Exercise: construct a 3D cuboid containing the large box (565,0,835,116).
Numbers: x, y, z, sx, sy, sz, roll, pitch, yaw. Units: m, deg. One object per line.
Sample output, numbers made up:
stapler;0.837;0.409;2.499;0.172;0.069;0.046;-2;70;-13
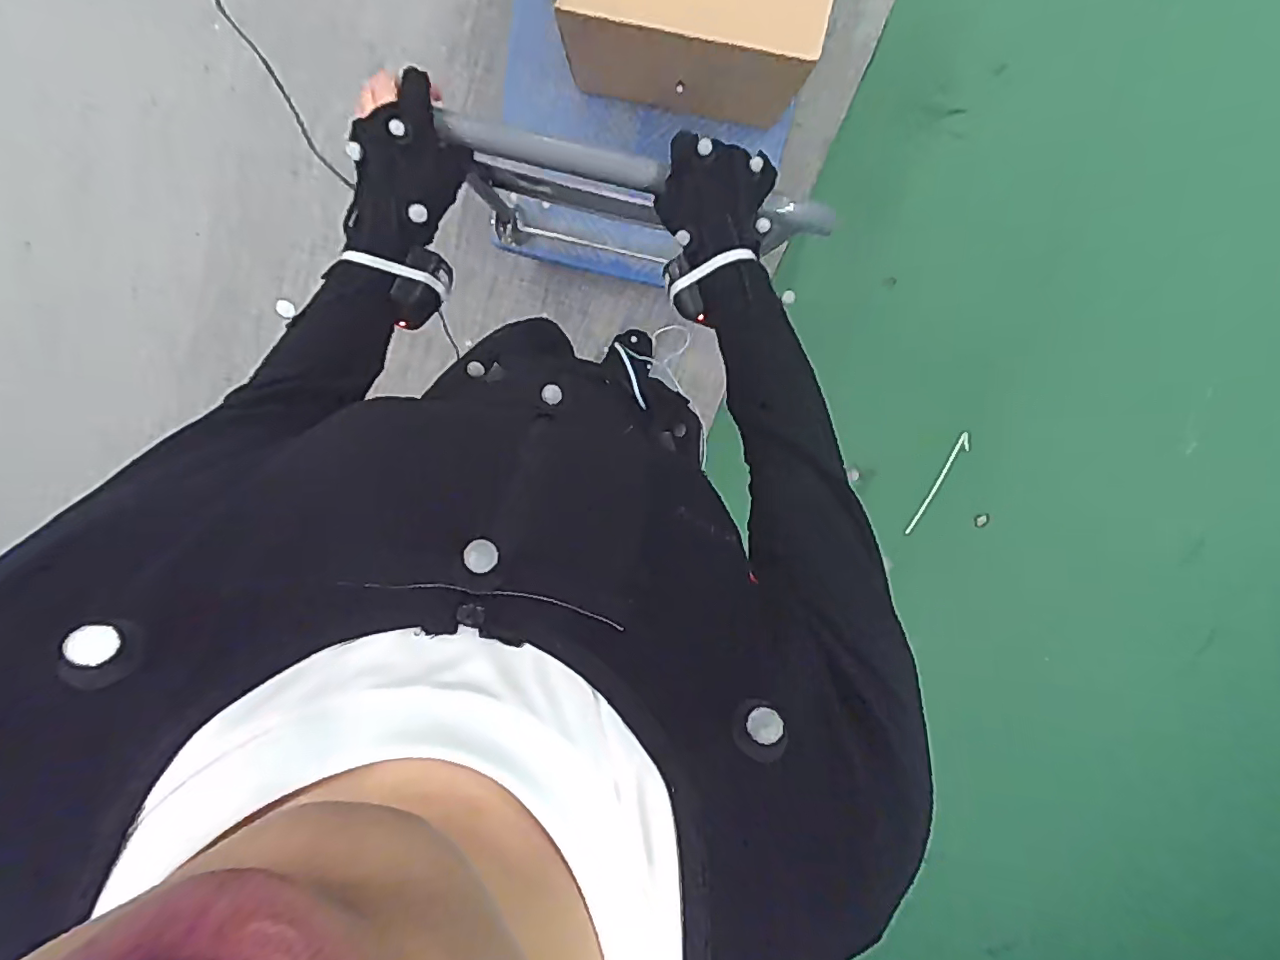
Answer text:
large box;0.110;-0.862;0.912;0.408;0.320;0.320;9;107;-1
